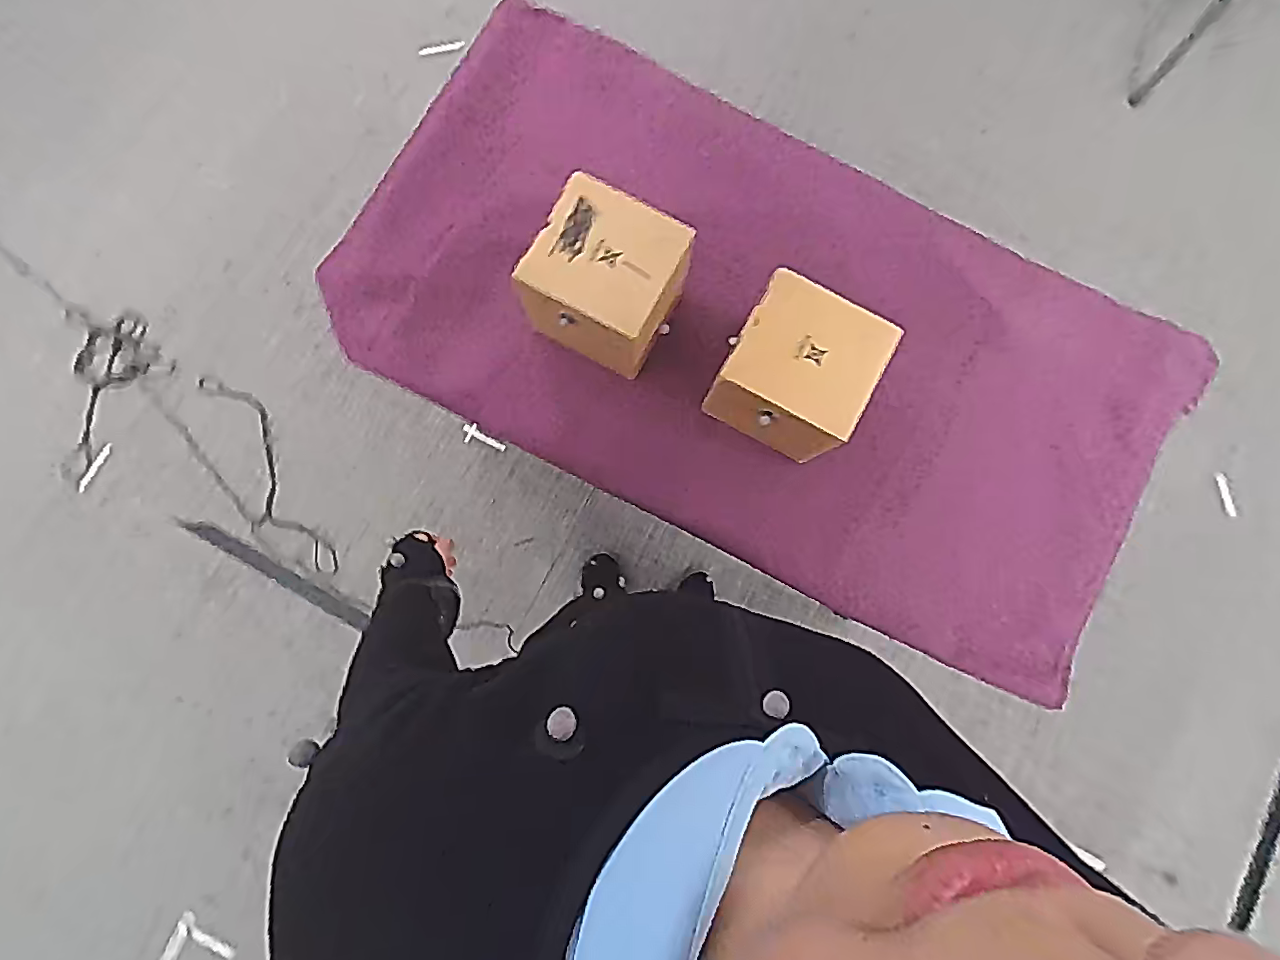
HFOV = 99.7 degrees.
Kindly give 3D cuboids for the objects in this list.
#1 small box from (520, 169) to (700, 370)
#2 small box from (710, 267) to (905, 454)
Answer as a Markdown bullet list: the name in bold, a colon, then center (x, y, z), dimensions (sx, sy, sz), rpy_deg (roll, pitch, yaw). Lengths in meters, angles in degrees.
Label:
- **small box**: center (-0.039, -0.277, 0.755), dimensions (0.179, 0.176, 0.168), rpy_deg (28, 84, 2)
- **small box**: center (0.216, -0.149, 0.745), dimensions (0.179, 0.176, 0.168), rpy_deg (29, 83, 3)
